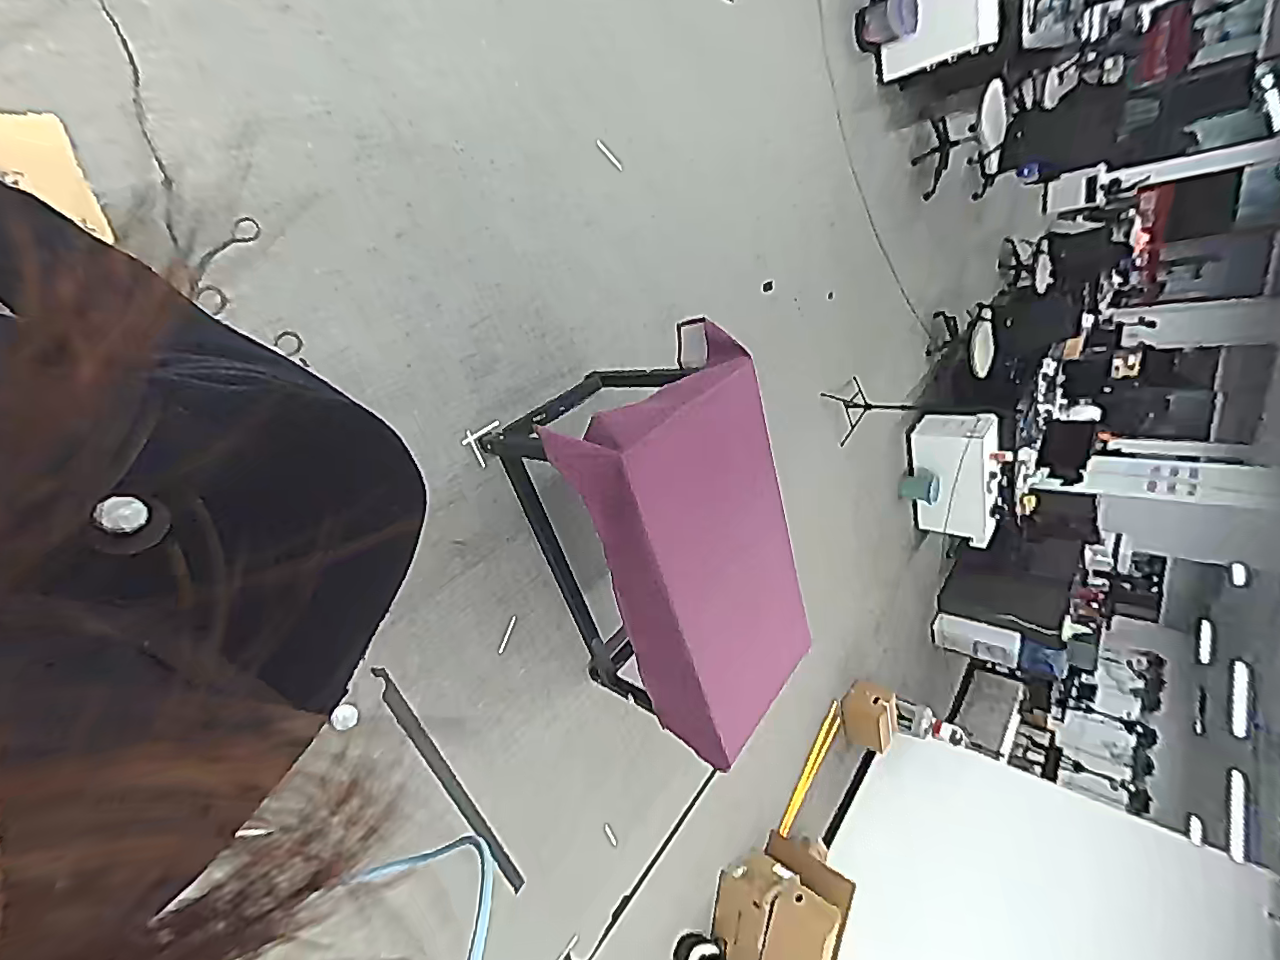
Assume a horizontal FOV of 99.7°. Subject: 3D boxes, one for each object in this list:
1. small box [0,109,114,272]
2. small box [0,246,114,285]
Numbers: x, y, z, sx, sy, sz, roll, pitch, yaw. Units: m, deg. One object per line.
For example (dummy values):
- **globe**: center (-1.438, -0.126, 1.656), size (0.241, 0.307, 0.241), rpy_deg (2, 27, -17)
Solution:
- **small box**: center (-0.926, -0.417, 0.796), size (0.168, 0.176, 0.179), rpy_deg (-27, 114, -40)
- **small box**: center (-1.041, -0.439, 0.911), size (0.179, 0.176, 0.168), rpy_deg (-36, 120, -36)
